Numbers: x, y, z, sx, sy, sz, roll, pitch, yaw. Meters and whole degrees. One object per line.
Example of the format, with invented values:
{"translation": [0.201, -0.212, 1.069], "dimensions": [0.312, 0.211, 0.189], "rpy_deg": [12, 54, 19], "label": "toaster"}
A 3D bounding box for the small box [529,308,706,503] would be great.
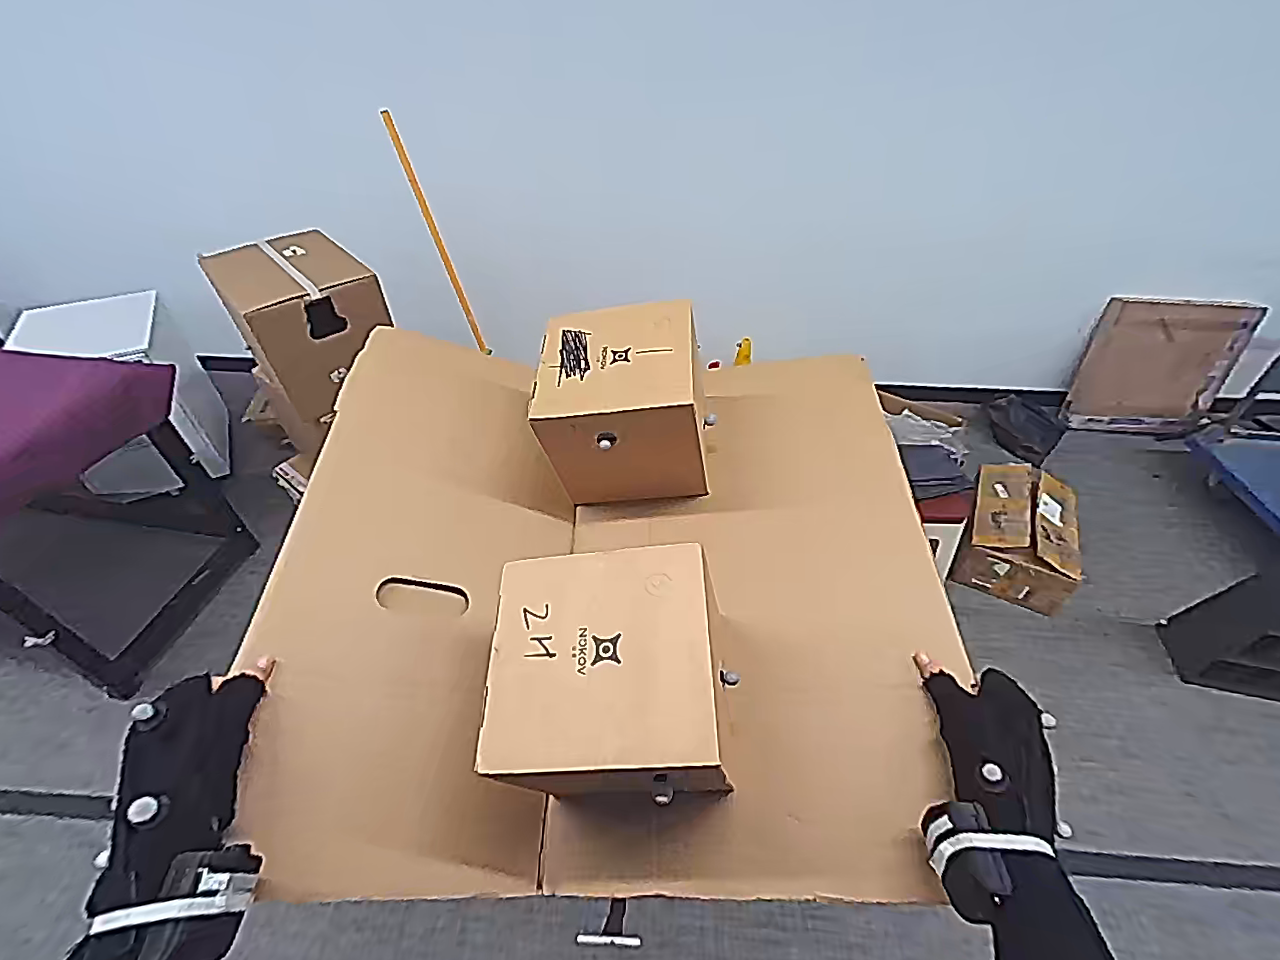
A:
{"translation": [-0.015, -0.083, 0.667], "dimensions": [0.179, 0.176, 0.168], "rpy_deg": [-4, 55, 10], "label": "small box"}

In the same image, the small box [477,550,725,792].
{"translation": [-0.017, 0.178, 0.486], "dimensions": [0.179, 0.176, 0.168], "rpy_deg": [-7, 55, 10], "label": "small box"}
